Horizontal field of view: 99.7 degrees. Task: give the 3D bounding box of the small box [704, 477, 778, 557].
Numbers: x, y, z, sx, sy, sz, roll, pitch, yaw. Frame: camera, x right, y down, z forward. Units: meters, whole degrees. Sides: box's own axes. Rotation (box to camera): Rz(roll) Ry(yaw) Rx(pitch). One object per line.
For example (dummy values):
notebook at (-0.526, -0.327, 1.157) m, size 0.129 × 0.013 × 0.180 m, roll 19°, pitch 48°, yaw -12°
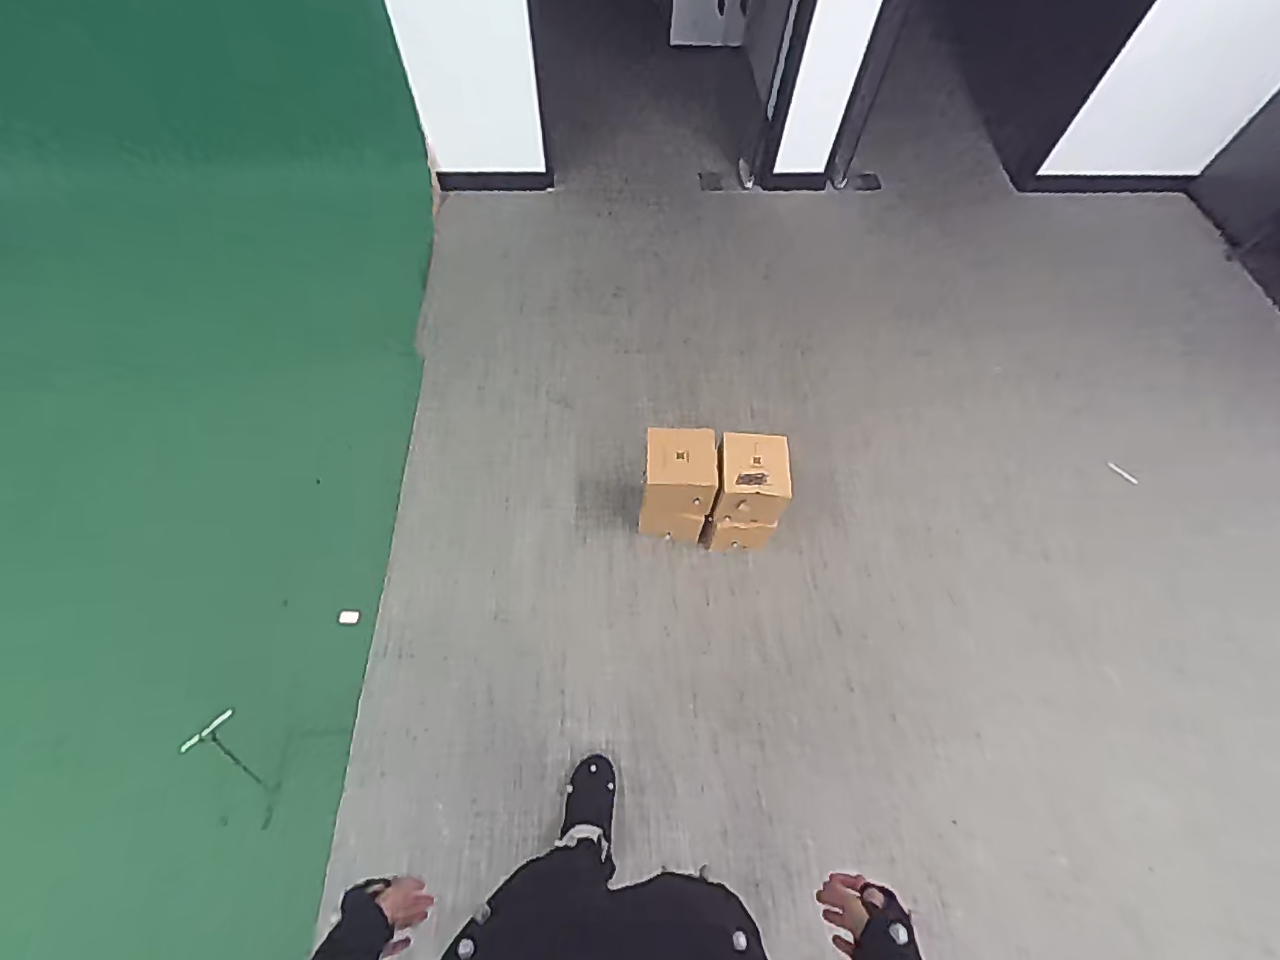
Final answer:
small box at (0.278, 0.106, 1.537) m, size 0.168 × 0.176 × 0.179 m, roll -1°, pitch 61°, yaw -3°
